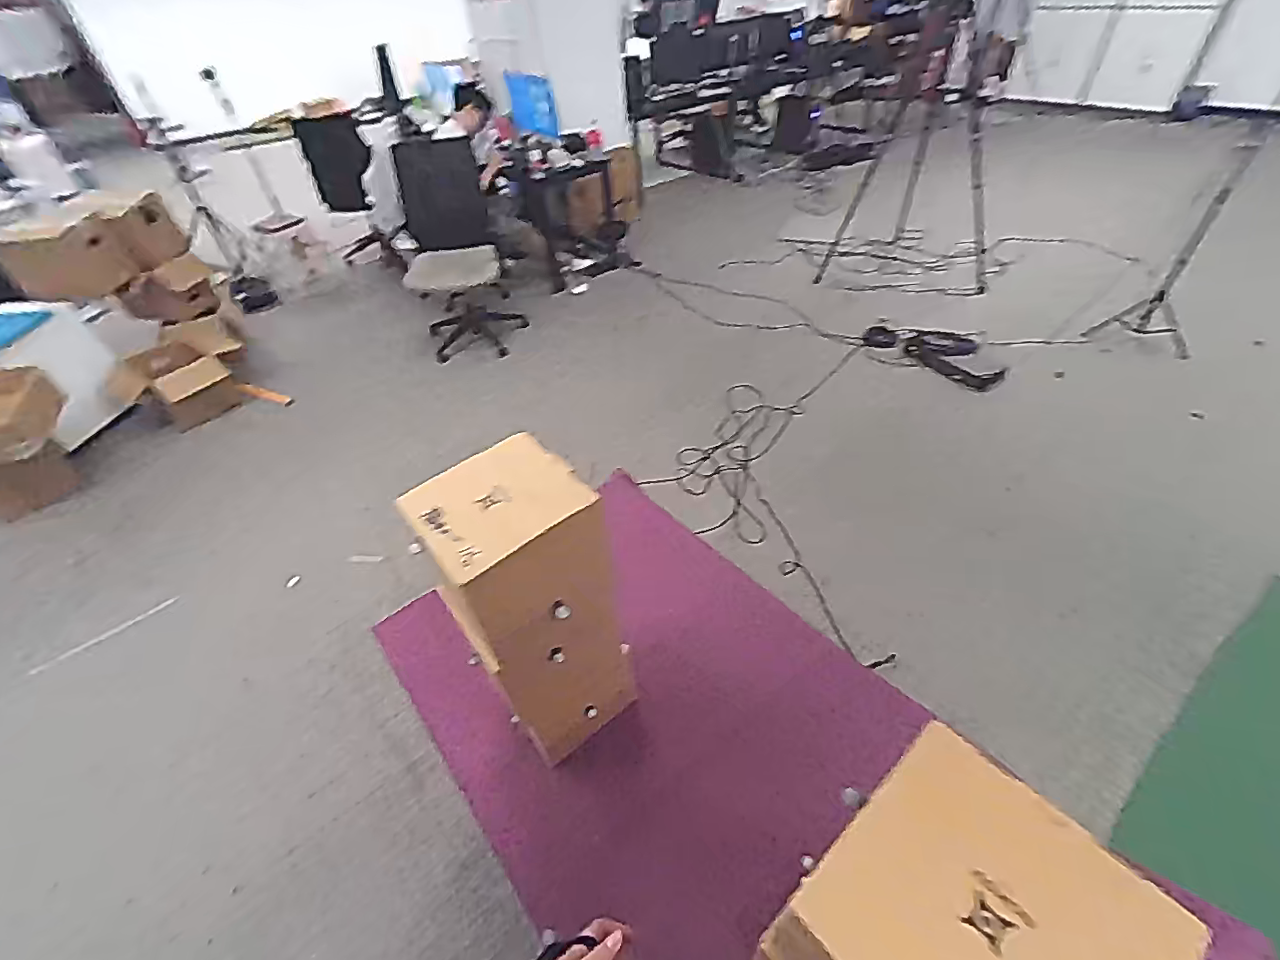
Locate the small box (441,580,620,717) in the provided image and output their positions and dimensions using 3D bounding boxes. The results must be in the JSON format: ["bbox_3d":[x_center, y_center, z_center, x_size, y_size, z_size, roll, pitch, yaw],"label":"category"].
[{"bbox_3d":[-0.145,0.196,0.765,0.179,0.176,0.168,-31,49,-24],"label":"small box"}]

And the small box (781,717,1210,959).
[{"bbox_3d":[0.214,0.314,0.371,0.179,0.176,0.168,-31,47,-26],"label":"small box"}]

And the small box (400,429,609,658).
[{"bbox_3d":[-0.151,0.074,0.654,0.179,0.176,0.168,-32,49,-25],"label":"small box"}]
